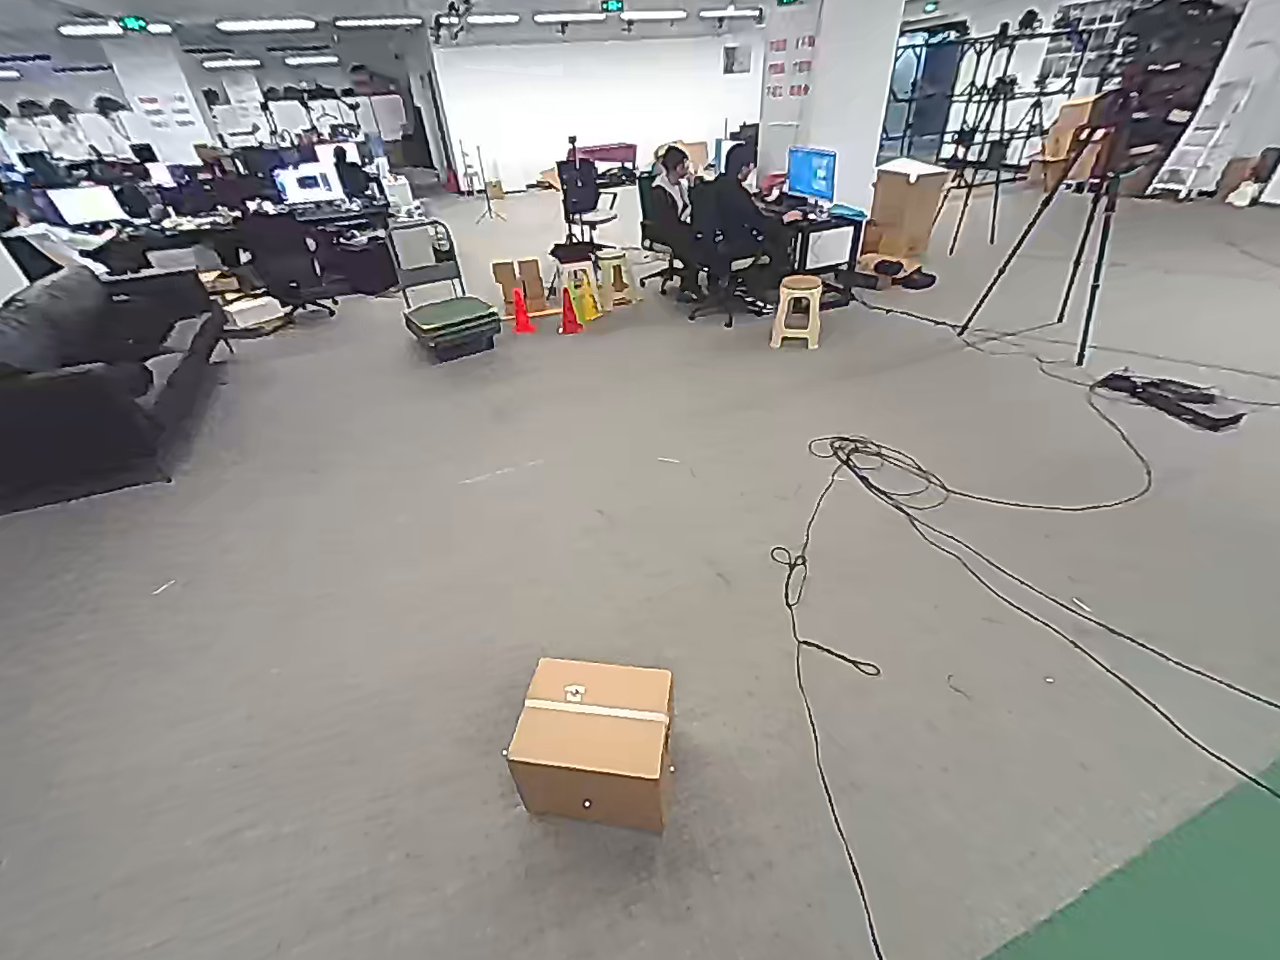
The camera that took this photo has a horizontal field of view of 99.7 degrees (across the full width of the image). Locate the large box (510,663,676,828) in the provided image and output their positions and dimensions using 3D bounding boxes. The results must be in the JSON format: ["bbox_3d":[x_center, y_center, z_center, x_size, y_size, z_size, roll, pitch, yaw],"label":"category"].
[{"bbox_3d":[-0.108,0.766,1.571,0.408,0.320,0.320,2,36,10],"label":"large box"}]
